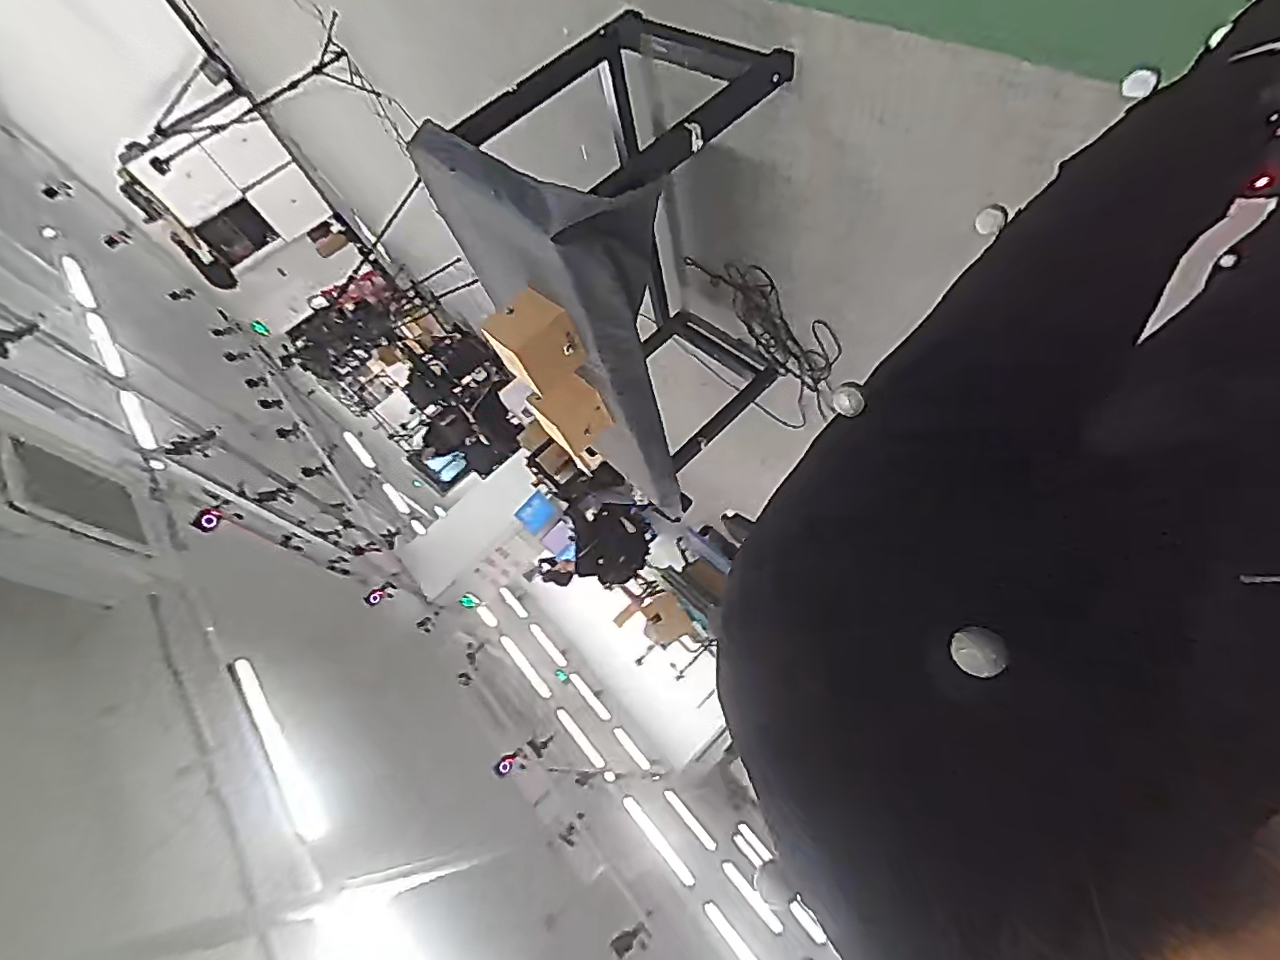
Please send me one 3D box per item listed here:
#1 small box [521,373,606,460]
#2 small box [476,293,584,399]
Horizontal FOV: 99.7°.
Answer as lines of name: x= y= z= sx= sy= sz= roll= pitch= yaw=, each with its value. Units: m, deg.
small box: x=-0.224 y=-0.200 z=1.656 sx=0.179 sy=0.176 sz=0.168 roll=40 pitch=166 yaw=33
small box: x=-0.274 y=-0.343 z=1.368 sx=0.179 sy=0.176 sz=0.168 roll=38 pitch=166 yaw=34
